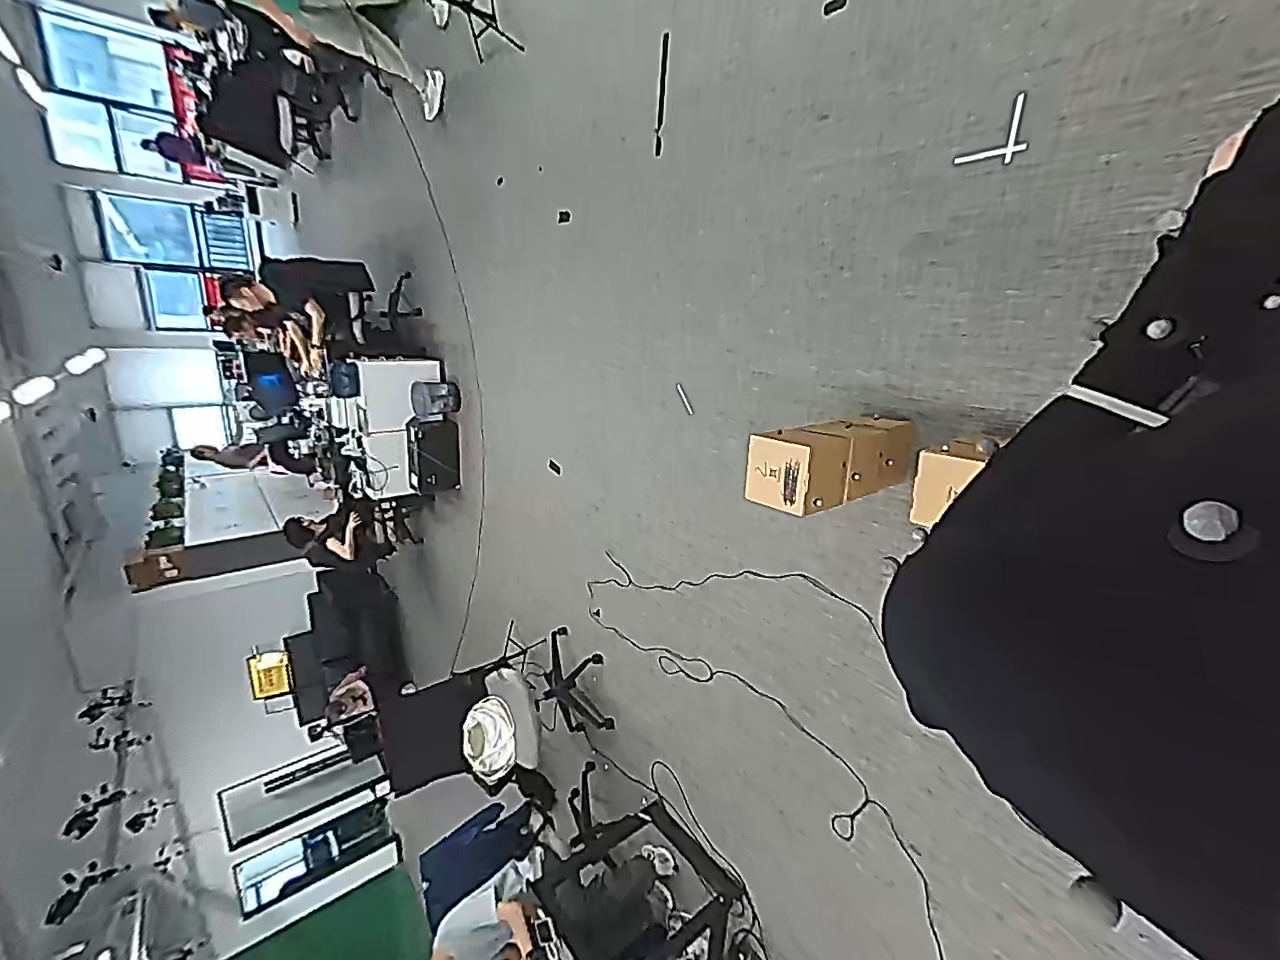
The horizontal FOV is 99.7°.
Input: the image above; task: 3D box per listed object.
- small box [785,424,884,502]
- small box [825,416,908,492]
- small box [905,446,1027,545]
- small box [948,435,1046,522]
[{"bbox_3d":[0.510,-0.052,1.424,0.179,0.176,0.168,19,113,49],"label":"small box"},{"bbox_3d":[0.633,-0.079,1.529,0.168,0.176,0.179,19,112,48],"label":"small box"},{"bbox_3d":[0.718,0.023,1.188,0.179,0.176,0.168,18,113,47],"label":"small box"},{"bbox_3d":[0.837,-0.002,1.295,0.168,0.176,0.179,24,115,46],"label":"small box"}]
